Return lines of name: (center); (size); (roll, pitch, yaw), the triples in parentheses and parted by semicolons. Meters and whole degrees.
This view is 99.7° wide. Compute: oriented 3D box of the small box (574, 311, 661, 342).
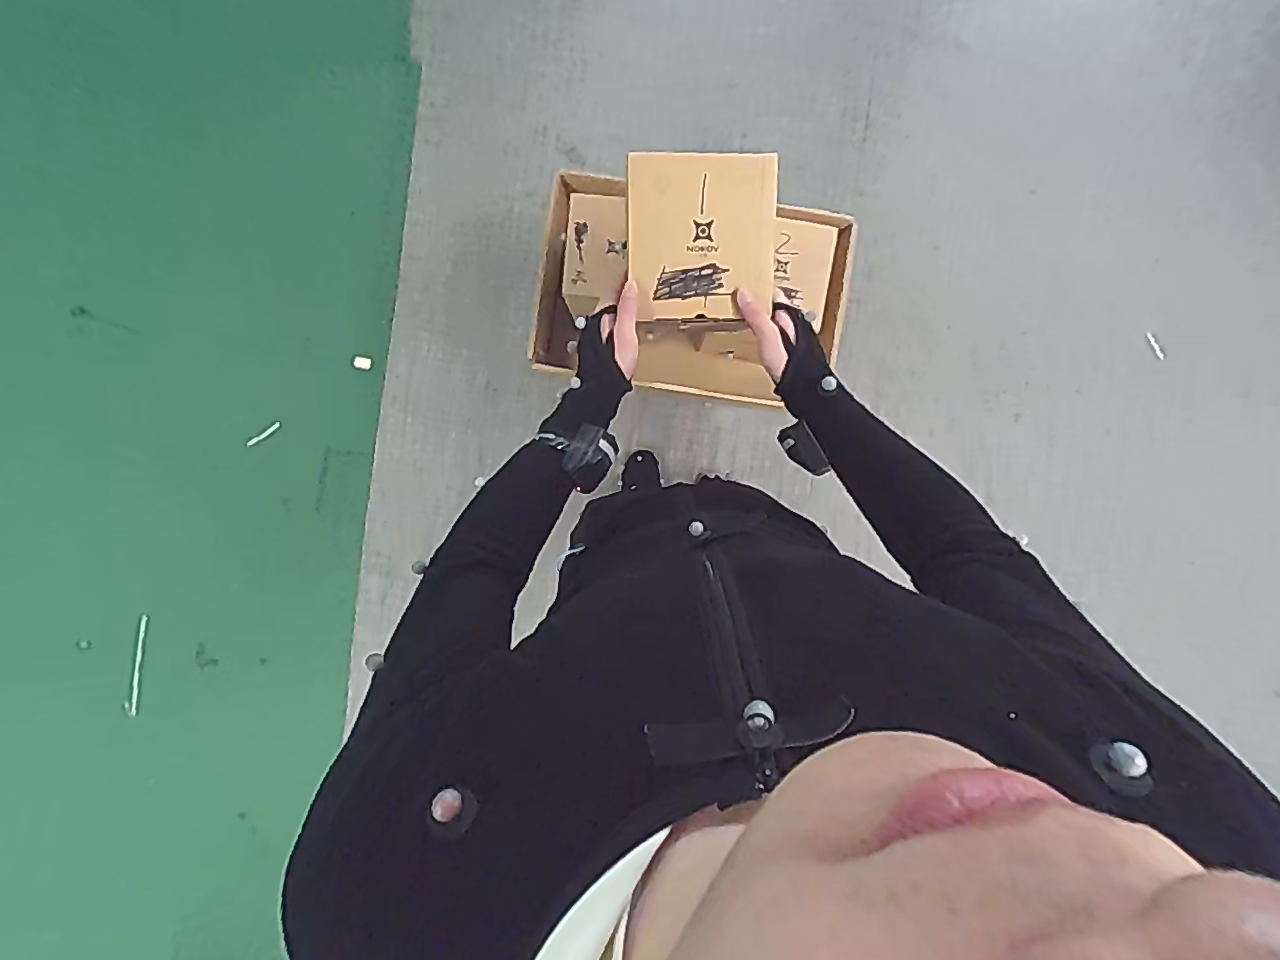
small box: (-0.033, -0.393, 1.126); (0.179, 0.176, 0.168); (8, 92, -2)

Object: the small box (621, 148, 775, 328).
small box: (0.061, -0.283, 0.670); (0.168, 0.176, 0.179); (-1, 101, -2)

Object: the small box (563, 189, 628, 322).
small box: (-0.032, -0.386, 0.961); (0.179, 0.176, 0.168); (6, 93, -1)
